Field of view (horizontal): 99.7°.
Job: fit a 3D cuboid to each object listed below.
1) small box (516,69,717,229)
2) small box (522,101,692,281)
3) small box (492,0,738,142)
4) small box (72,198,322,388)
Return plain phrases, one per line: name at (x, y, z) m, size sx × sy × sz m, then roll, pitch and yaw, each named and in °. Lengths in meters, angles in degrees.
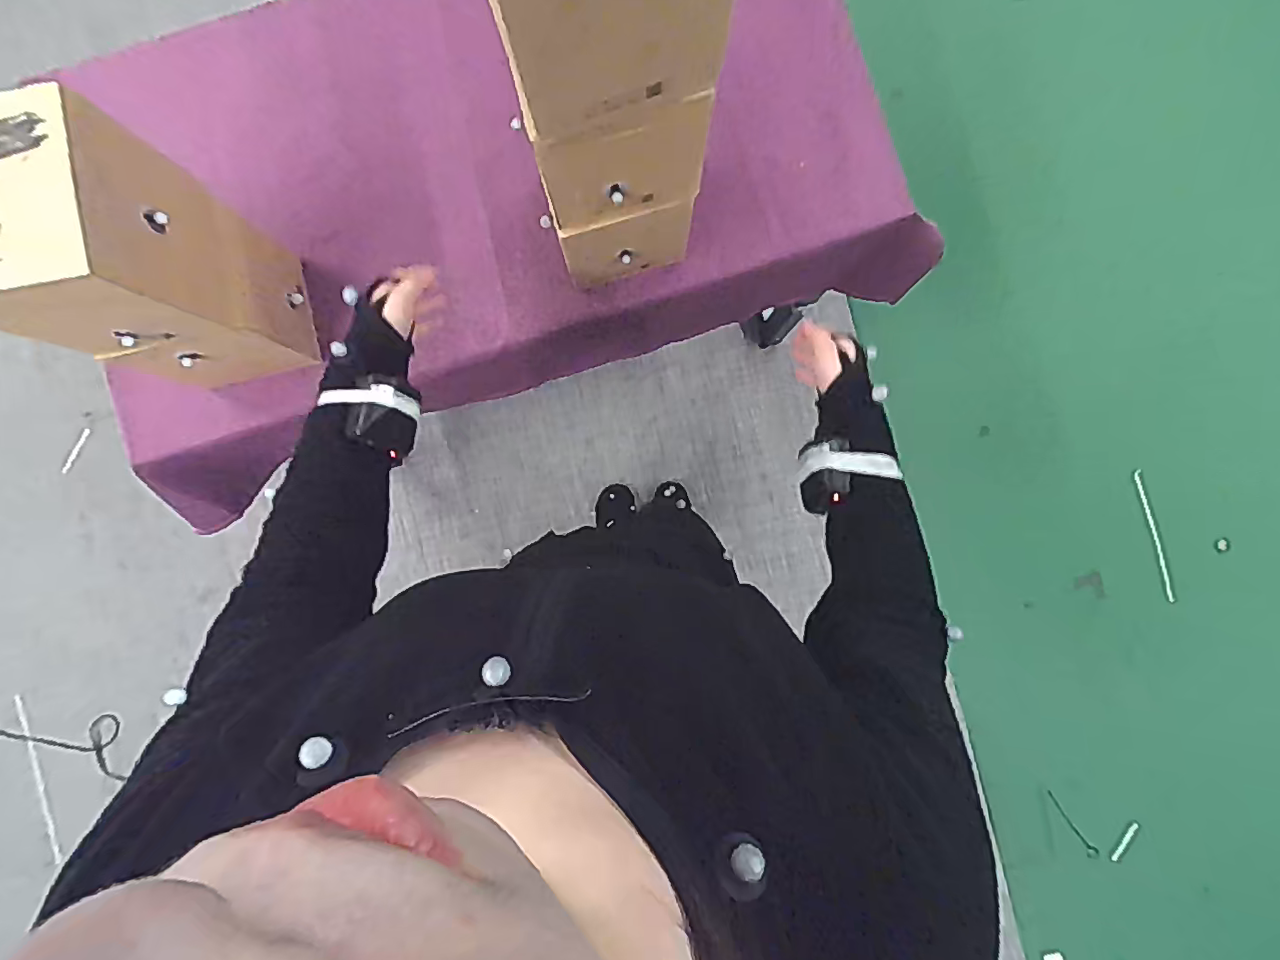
small box at (-0.034, -0.393, 0.548) m, size 0.168 × 0.176 × 0.179 m, roll -16°, pitch 90°, yaw 0°
small box at (-0.037, -0.382, 0.711) m, size 0.168 × 0.176 × 0.179 m, roll -16°, pitch 89°, yaw 0°
small box at (-0.034, -0.393, 0.383) m, size 0.168 × 0.176 × 0.179 m, roll -20°, pitch 89°, yaw 1°
small box at (-0.562, -0.229, 0.709) m, size 0.179 × 0.176 × 0.168 m, roll -14°, pitch 89°, yaw -1°
